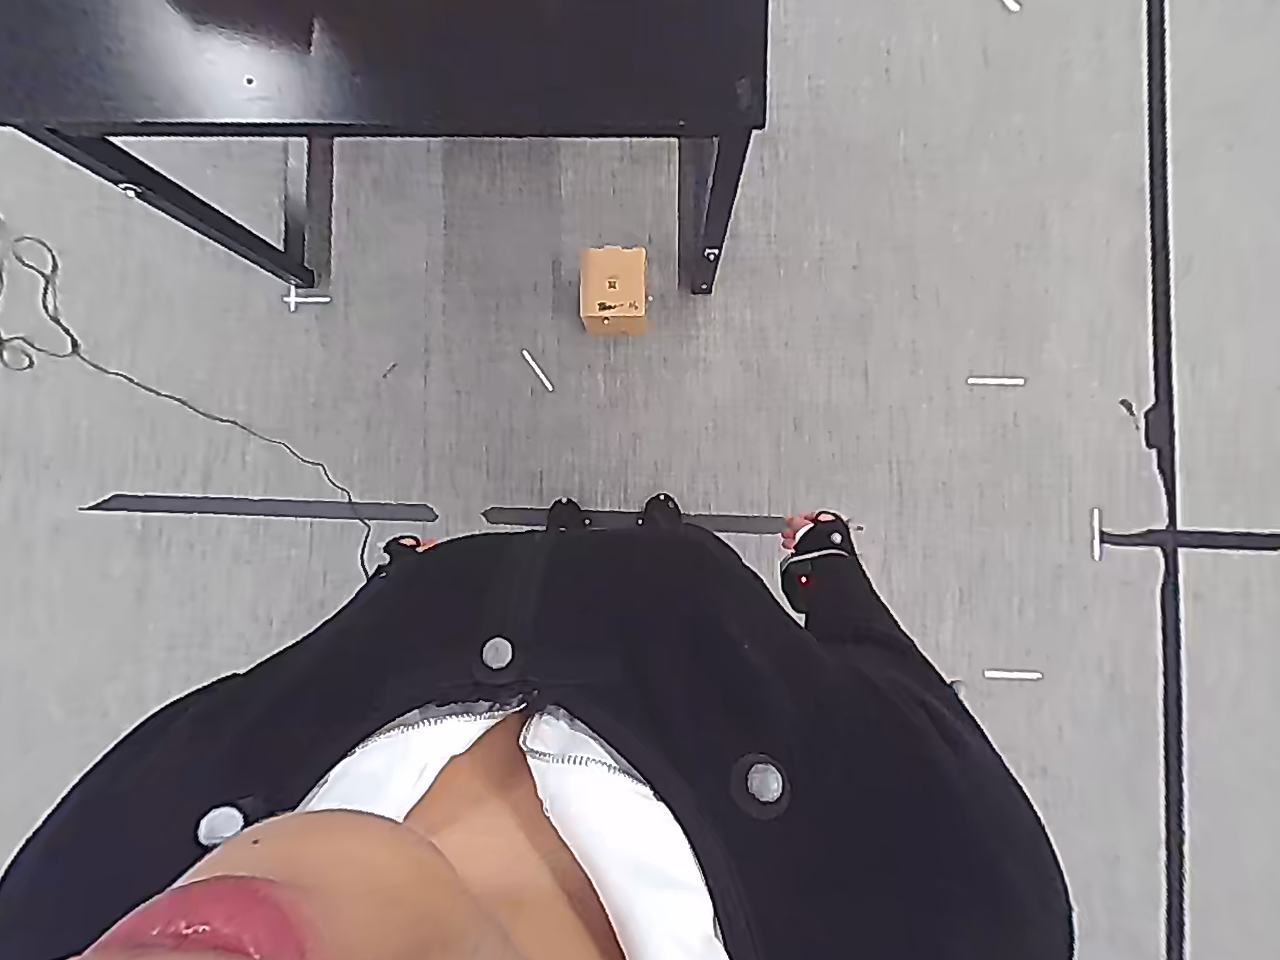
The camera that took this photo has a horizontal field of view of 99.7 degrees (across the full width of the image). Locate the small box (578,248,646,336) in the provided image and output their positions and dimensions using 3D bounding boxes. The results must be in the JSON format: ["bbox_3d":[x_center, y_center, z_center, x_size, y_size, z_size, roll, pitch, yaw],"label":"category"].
[{"bbox_3d":[-0.070,-0.496,1.442,0.168,0.176,0.179,0,88,3],"label":"small box"}]
